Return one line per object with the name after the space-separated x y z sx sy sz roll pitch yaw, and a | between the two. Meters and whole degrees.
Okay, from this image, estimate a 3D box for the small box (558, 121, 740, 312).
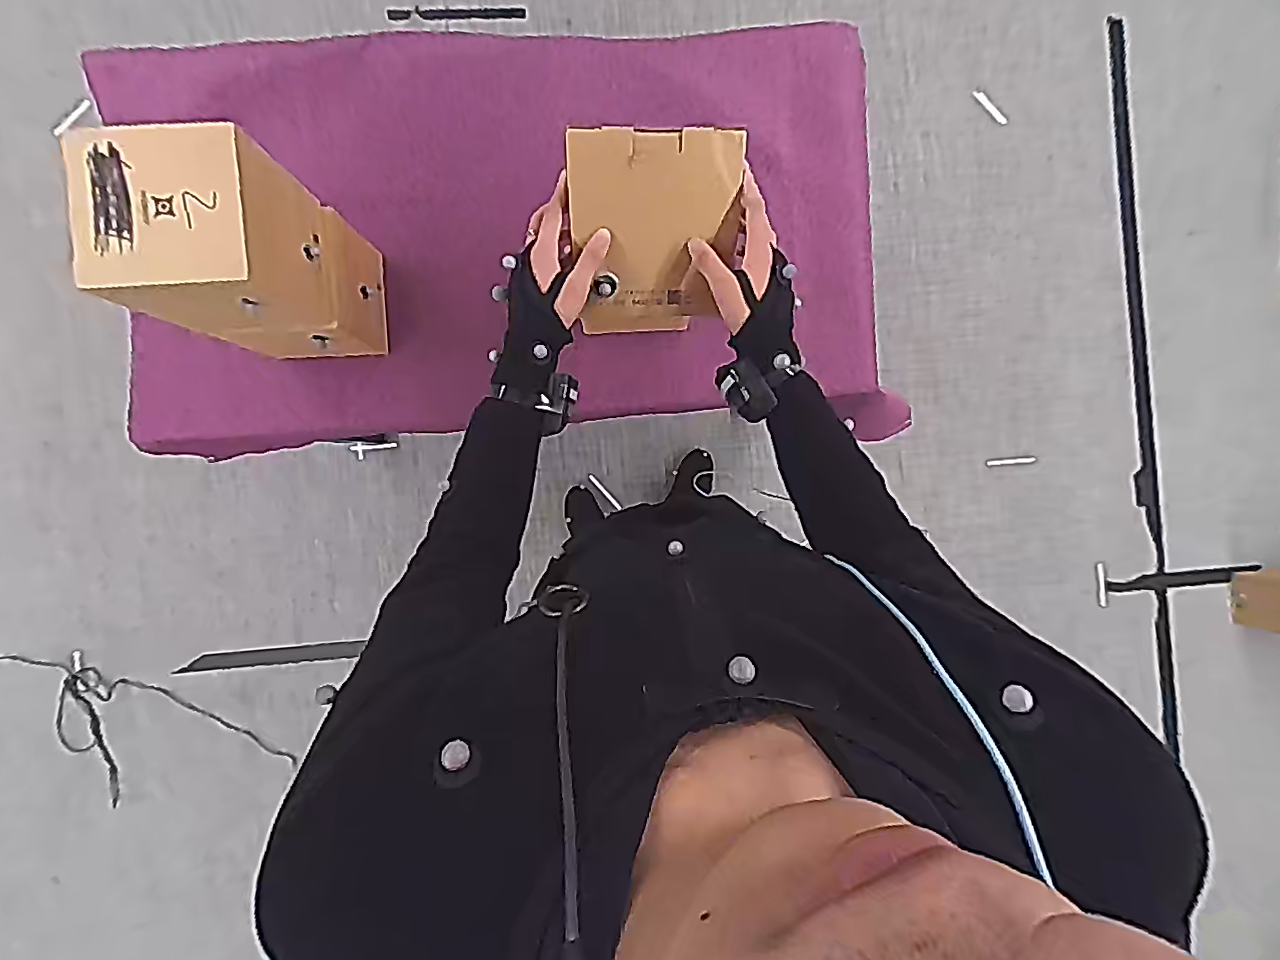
0.005 -0.283 0.587 0.168 0.179 0.176 -2 120 -4 | small box

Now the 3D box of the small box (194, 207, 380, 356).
-0.501 -0.282 0.797 0.179 0.176 0.168 -3 91 -3 | small box

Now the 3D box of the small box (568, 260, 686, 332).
-0.015 -0.328 0.820 0.179 0.176 0.168 -4 91 -3 | small box
